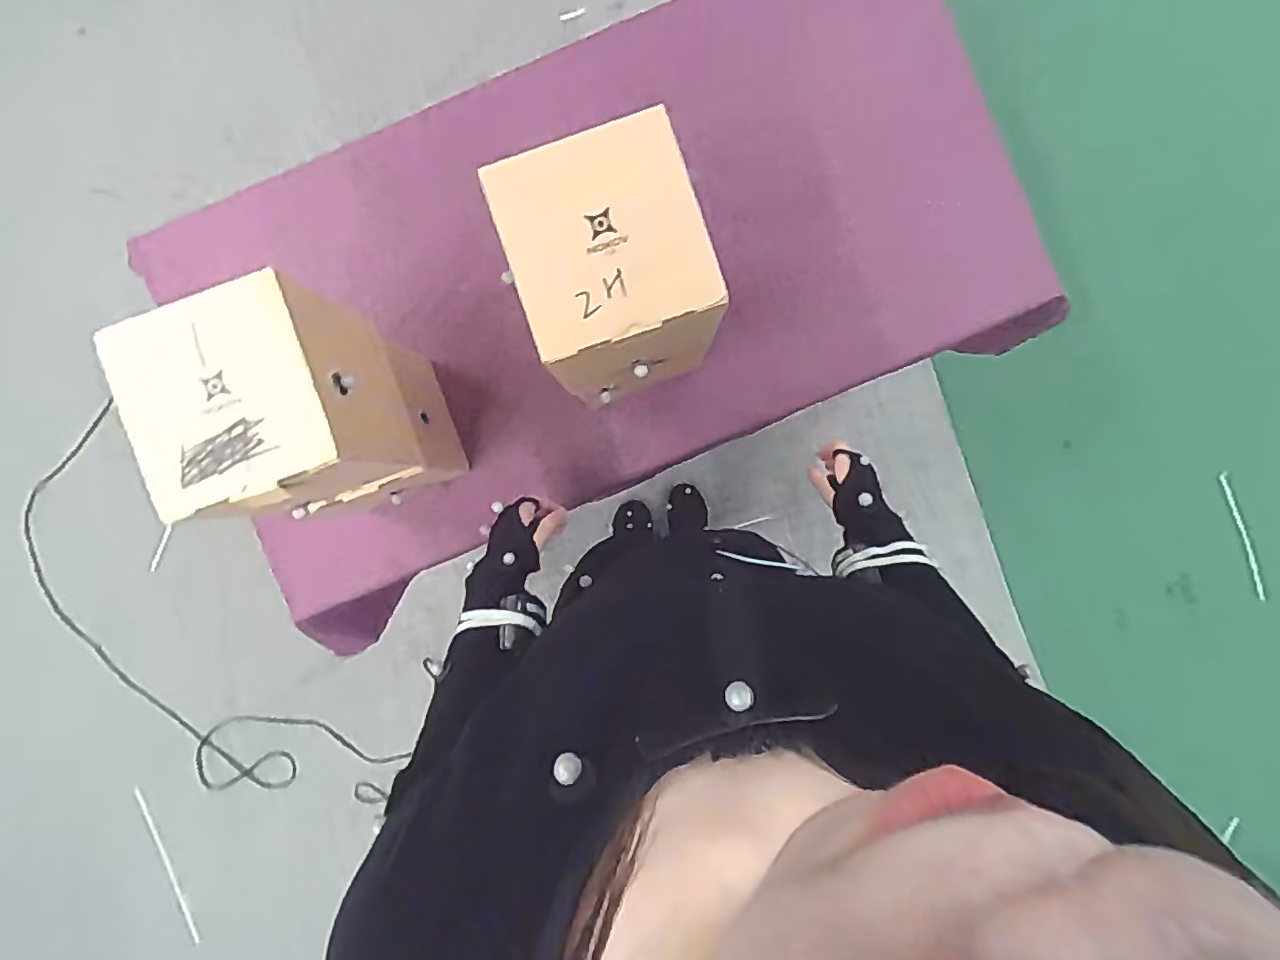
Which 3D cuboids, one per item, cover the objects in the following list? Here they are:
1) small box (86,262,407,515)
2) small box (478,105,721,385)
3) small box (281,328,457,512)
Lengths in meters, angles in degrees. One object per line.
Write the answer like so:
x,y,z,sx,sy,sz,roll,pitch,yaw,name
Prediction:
-0.360,-0.078,0.533,0.168,0.176,0.179,-19,90,0,small box
-0.034,-0.208,0.530,0.168,0.176,0.179,-18,91,1,small box
-0.360,-0.074,0.698,0.168,0.176,0.179,-20,92,-1,small box
